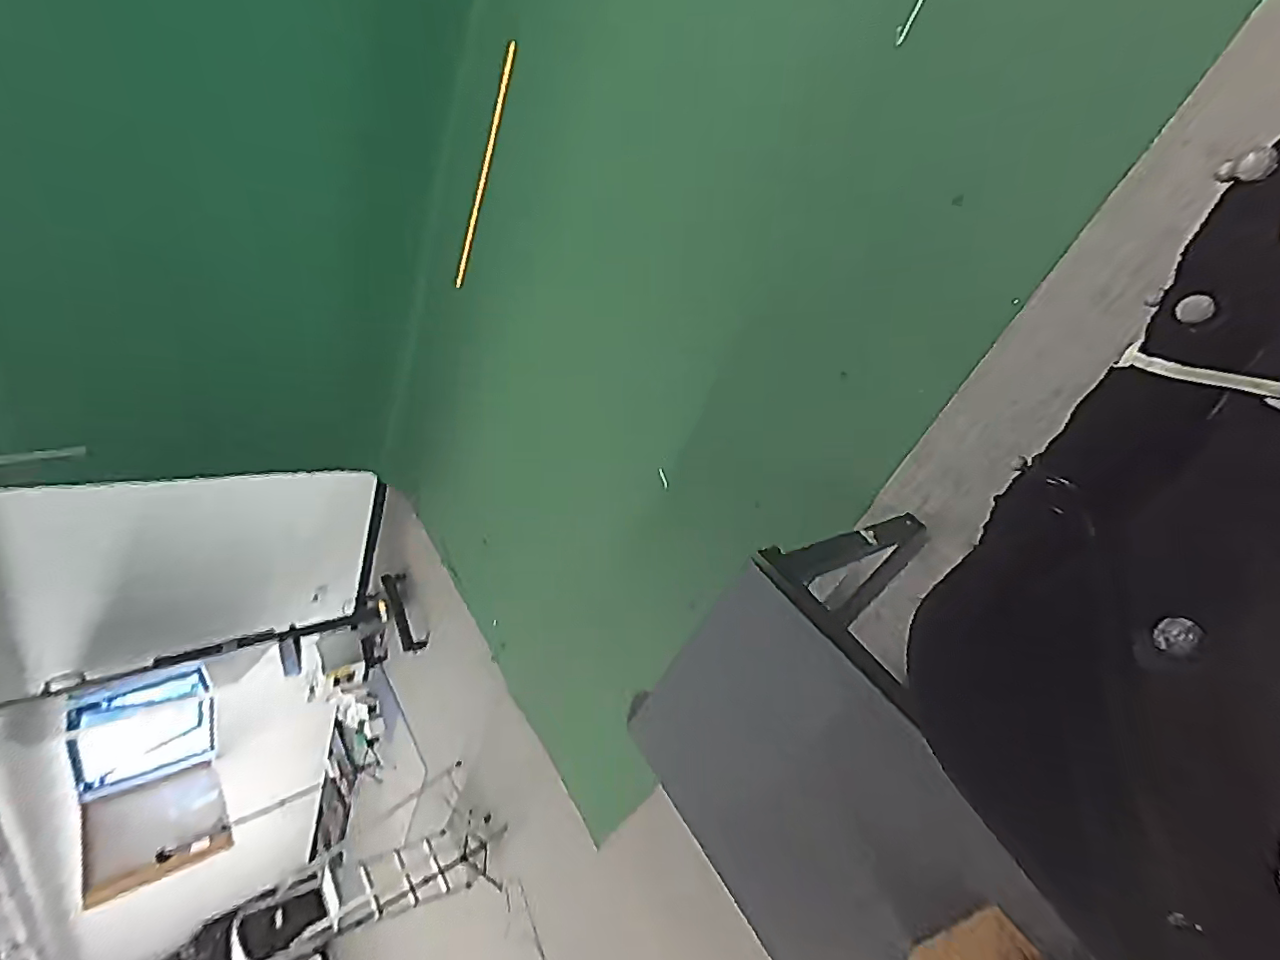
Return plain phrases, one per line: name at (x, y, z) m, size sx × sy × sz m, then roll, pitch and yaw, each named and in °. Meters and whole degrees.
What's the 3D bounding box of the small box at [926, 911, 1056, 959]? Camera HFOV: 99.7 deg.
small box at (0.444, 0.690, 0.663) m, size 0.168 × 0.176 × 0.179 m, roll 46°, pitch 126°, yaw 33°
